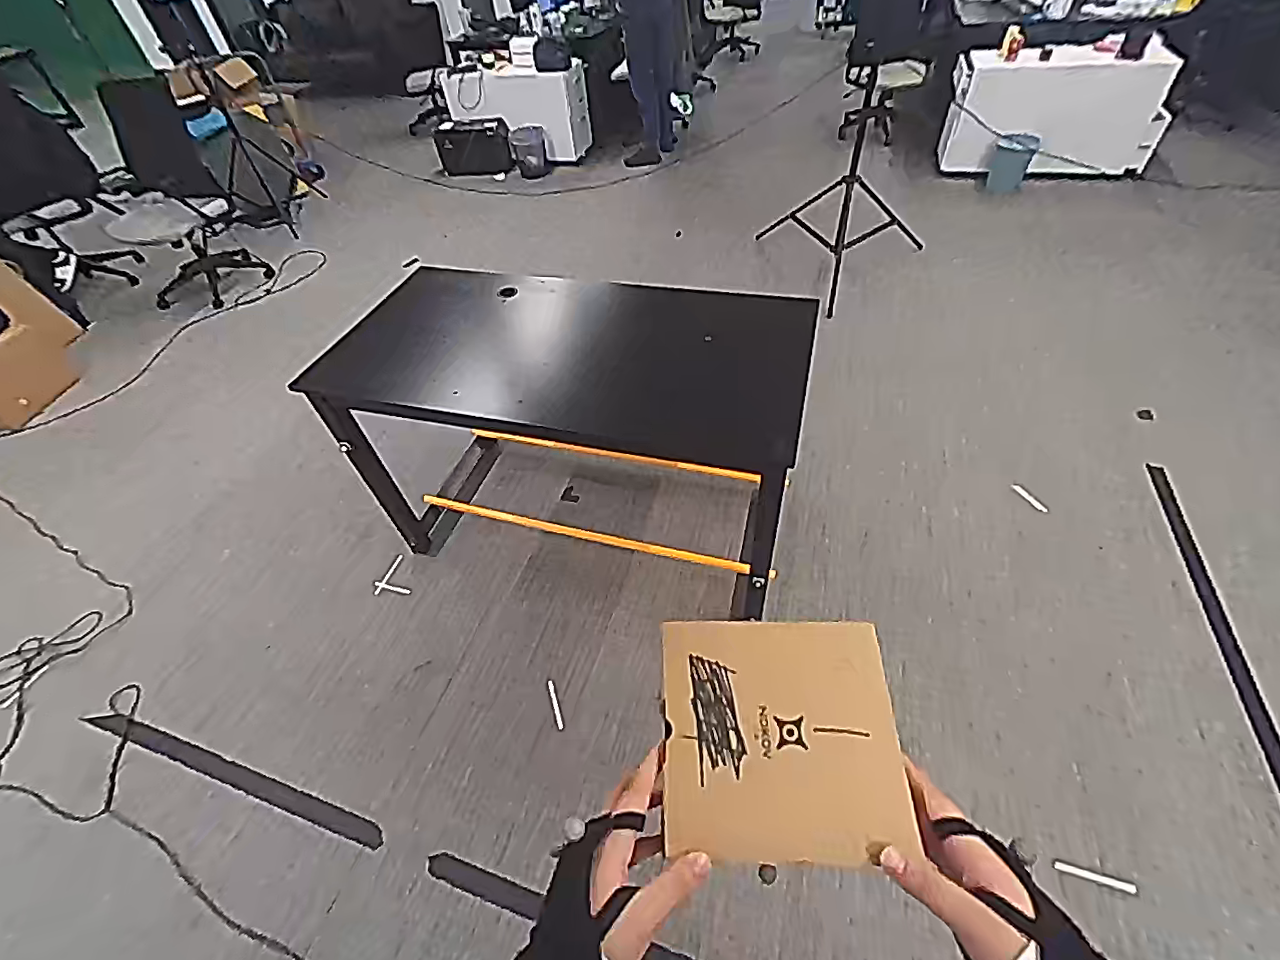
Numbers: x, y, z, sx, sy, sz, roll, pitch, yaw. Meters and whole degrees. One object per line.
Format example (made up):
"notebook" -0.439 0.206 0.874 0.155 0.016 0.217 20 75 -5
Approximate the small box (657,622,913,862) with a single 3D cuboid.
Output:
"small box" 0.107 0.233 0.480 0.179 0.176 0.168 -1 58 4
